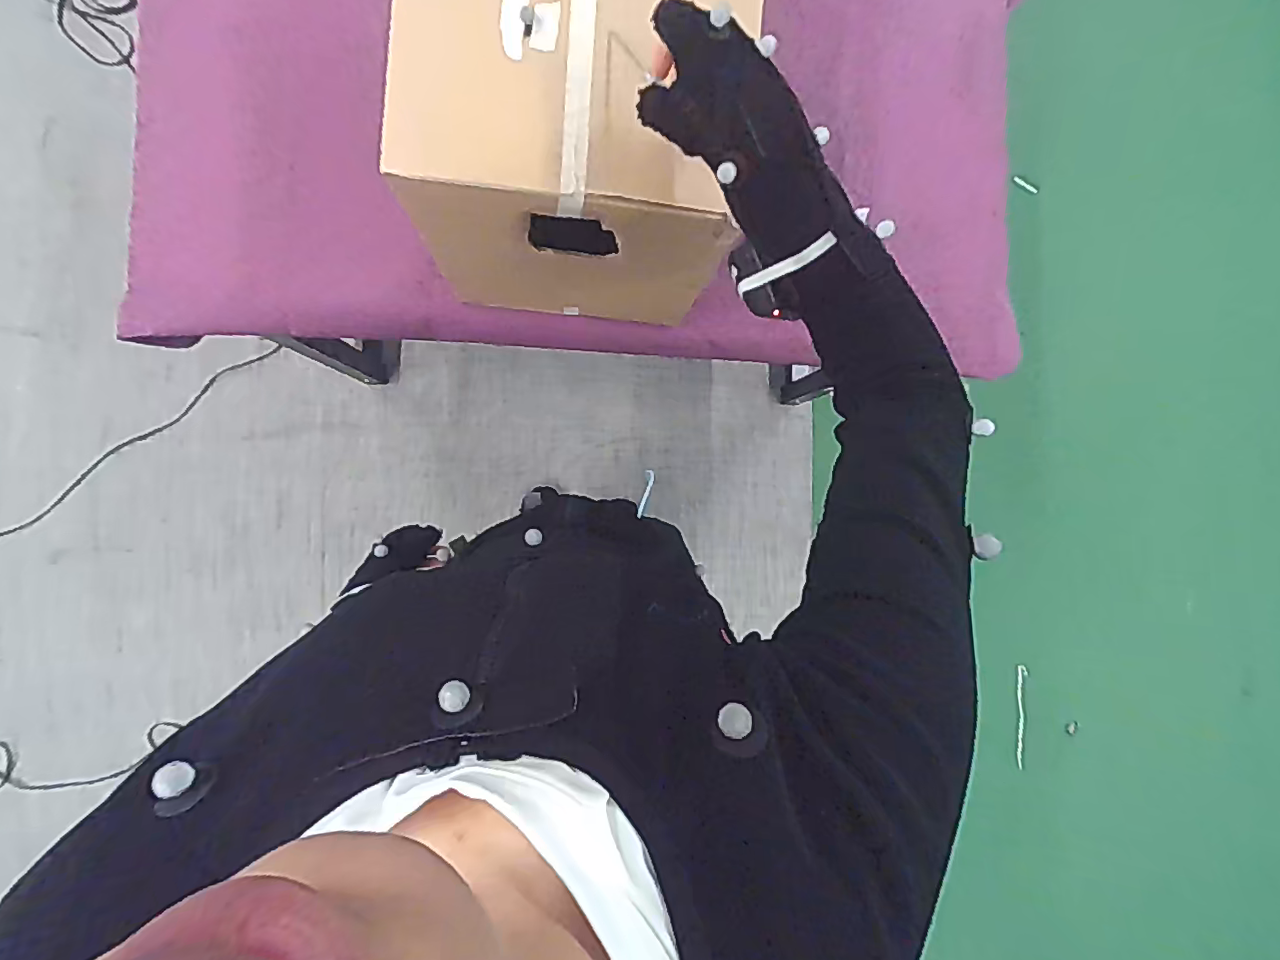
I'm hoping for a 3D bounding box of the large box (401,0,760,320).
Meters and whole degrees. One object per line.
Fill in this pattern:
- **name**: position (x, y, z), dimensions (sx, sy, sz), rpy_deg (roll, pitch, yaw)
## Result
- **large box**: position (-0.062, -0.442, 0.627), dimensions (0.320, 0.320, 0.408), rpy_deg (4, 89, -7)
